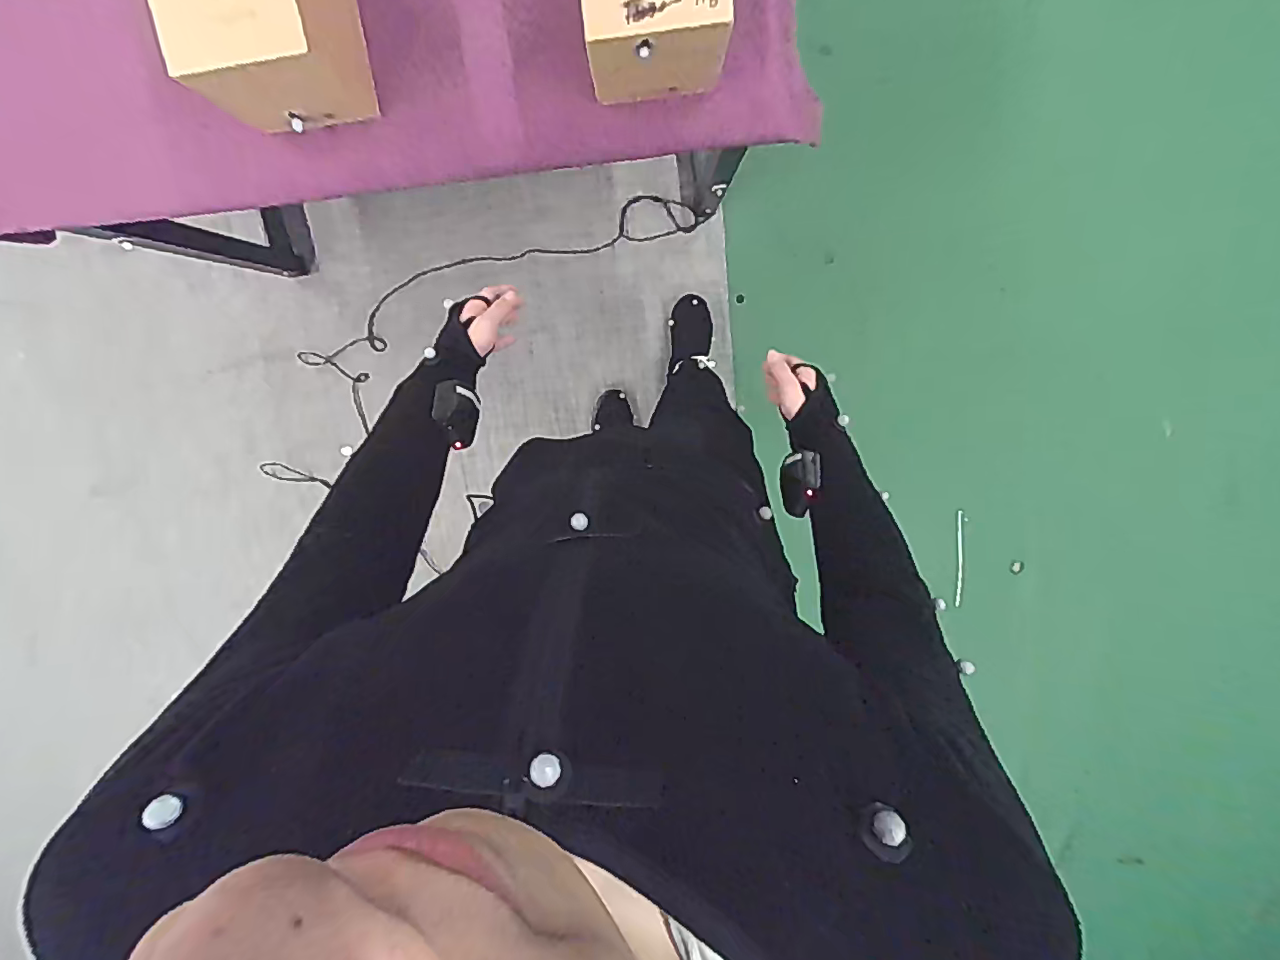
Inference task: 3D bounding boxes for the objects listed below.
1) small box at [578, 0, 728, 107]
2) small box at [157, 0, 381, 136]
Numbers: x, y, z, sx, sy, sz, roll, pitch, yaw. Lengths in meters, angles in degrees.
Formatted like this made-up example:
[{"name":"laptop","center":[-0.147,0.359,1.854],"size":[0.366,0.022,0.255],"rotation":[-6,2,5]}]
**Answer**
[{"name":"small box","center":[0.011,-0.593,0.656],"size":[0.168,0.176,0.179],"rotation":[-5,104,4]},{"name":"small box","center":[-0.456,-0.568,0.677],"size":[0.168,0.176,0.179],"rotation":[-6,103,4]}]
